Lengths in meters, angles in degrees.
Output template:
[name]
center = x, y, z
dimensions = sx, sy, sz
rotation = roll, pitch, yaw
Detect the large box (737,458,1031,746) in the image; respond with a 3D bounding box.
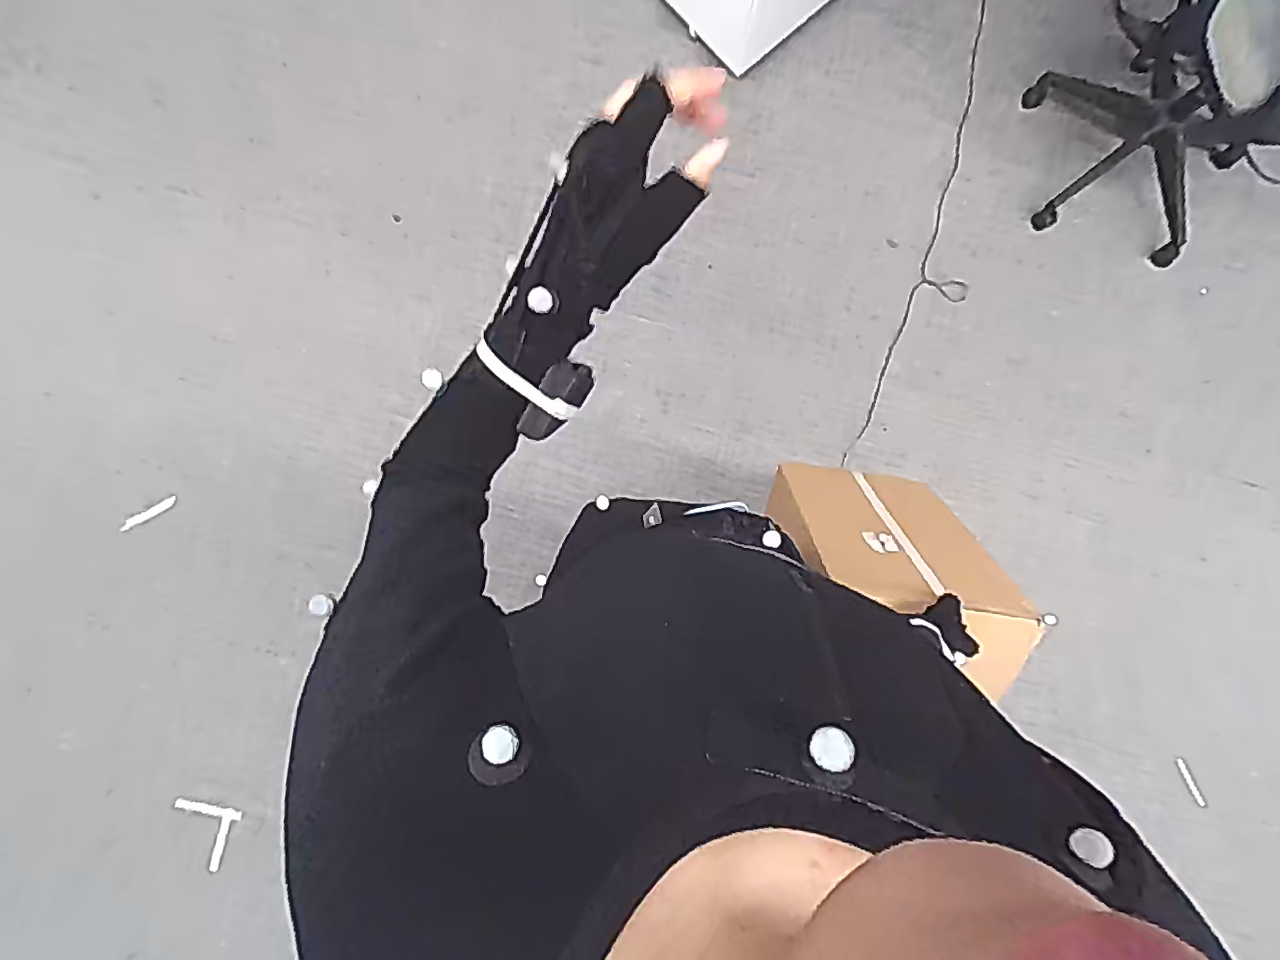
[large box]
center = 0.390, 0.206, 1.007
dimensions = 0.320, 0.408, 0.320
rotation = 8, 120, -3
